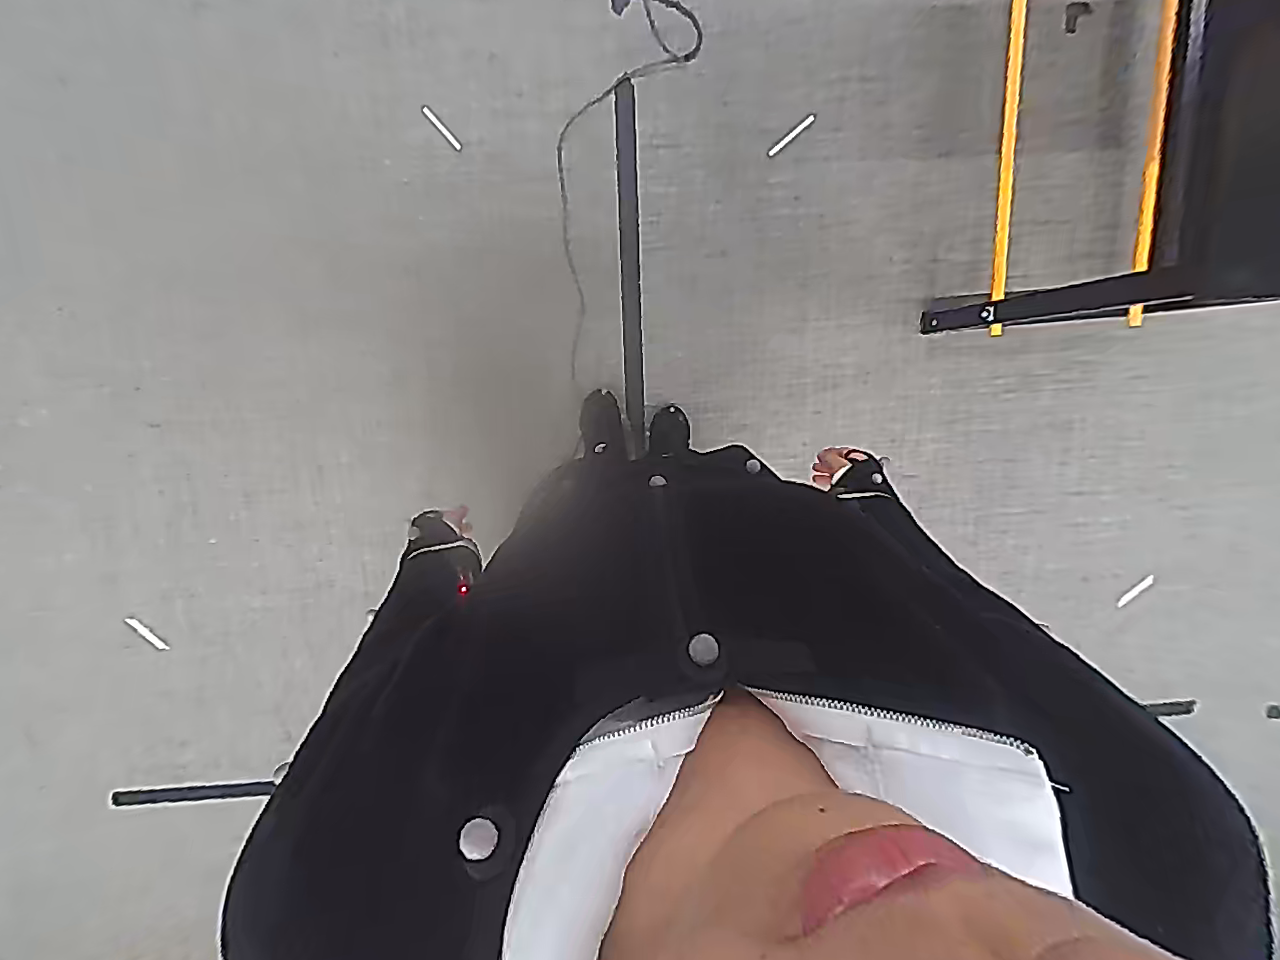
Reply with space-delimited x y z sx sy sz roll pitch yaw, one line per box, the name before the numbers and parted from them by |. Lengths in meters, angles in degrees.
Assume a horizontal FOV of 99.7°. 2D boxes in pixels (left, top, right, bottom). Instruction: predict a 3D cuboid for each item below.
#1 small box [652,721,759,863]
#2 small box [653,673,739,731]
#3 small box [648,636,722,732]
small box | 0.120 0.584 1.033 0.179 0.176 0.168 -4 101 -2
small box | 0.118 0.542 1.194 0.168 0.176 0.179 -3 101 -3
small box | 0.109 0.513 1.354 0.168 0.176 0.179 -3 101 -3
